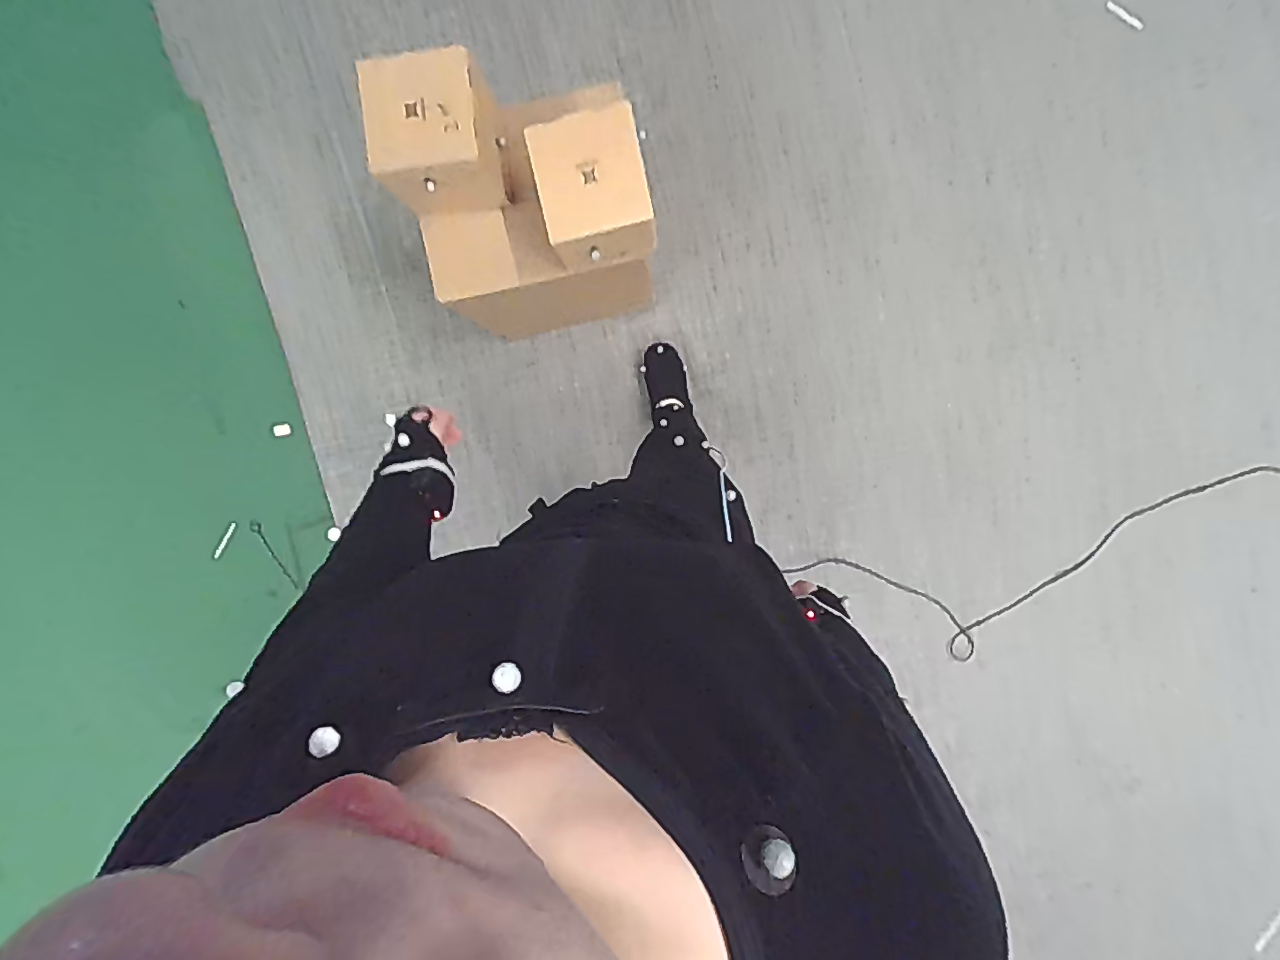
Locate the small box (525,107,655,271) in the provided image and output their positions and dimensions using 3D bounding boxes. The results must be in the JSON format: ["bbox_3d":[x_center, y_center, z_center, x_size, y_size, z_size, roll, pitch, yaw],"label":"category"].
[{"bbox_3d":[-0.073,-0.463,0.895,0.168,0.176,0.179,-12,94,4],"label":"small box"}]

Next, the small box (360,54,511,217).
[{"bbox_3d":[-0.331,-0.560,0.904,0.179,0.176,0.168,-5,94,3],"label":"small box"}]
